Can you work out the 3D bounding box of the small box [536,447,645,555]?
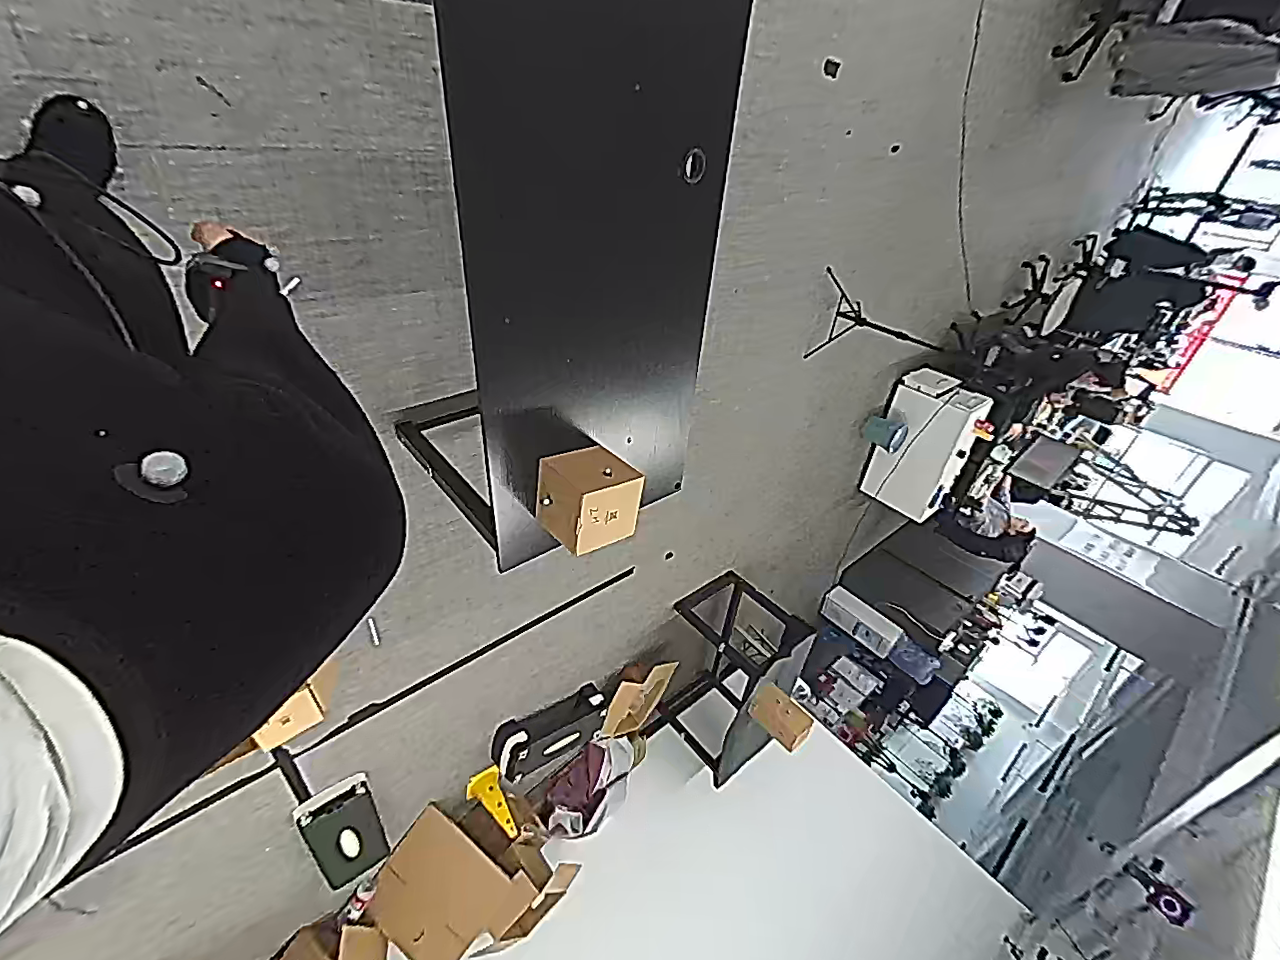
[{"bbox_3d":[-0.117,0.039,1.244,0.179,0.176,0.168,-16,129,-39],"label":"small box"}]
